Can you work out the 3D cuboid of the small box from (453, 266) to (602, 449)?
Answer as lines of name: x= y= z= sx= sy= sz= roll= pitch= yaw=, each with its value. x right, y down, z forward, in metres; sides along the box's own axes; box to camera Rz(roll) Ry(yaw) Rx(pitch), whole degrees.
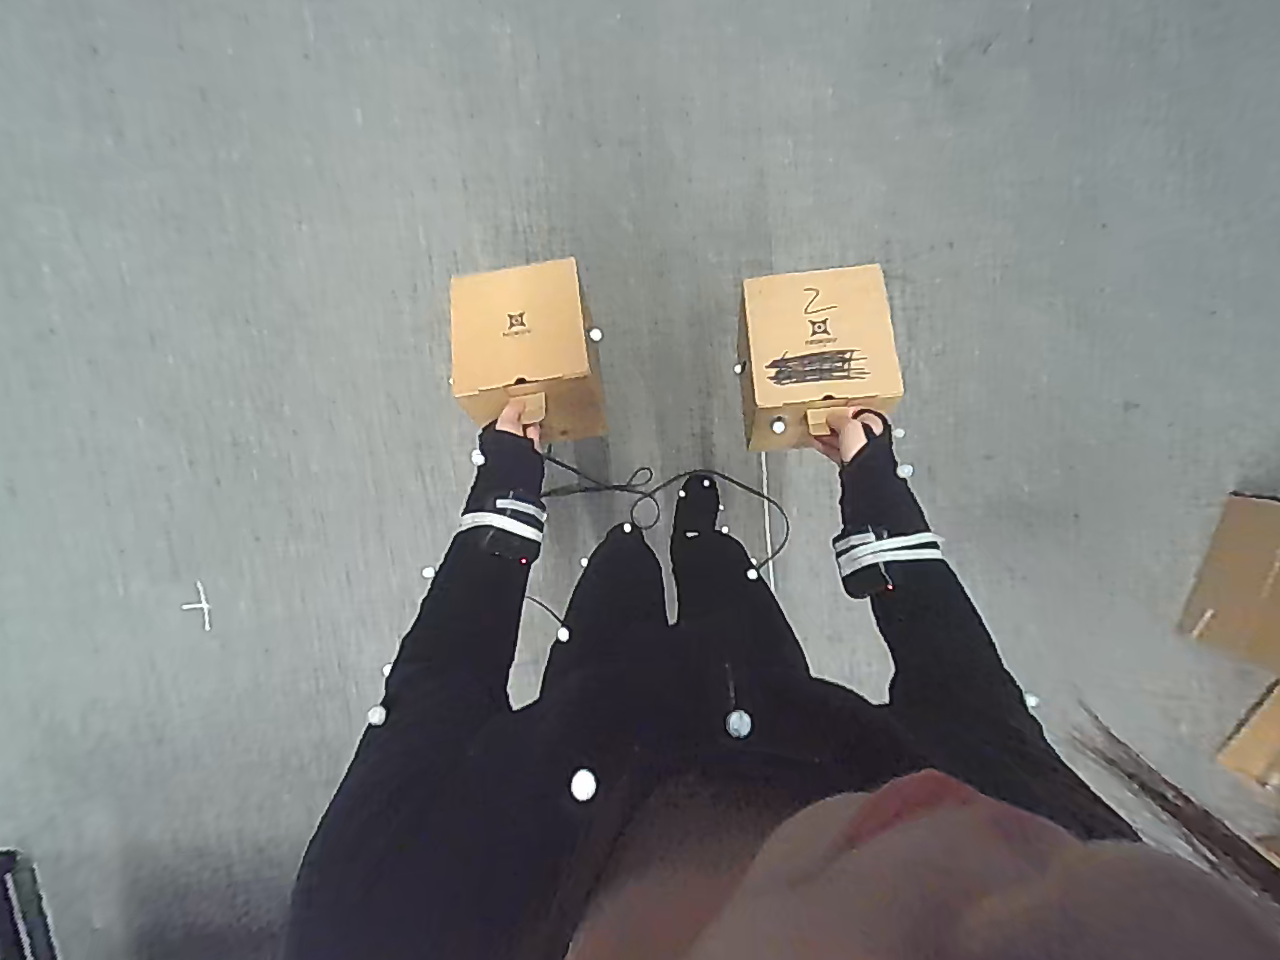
small box: x=-0.150 y=-0.163 z=0.756 sx=0.168 sy=0.176 sz=0.179 roll=-9 pitch=69 yaw=1
